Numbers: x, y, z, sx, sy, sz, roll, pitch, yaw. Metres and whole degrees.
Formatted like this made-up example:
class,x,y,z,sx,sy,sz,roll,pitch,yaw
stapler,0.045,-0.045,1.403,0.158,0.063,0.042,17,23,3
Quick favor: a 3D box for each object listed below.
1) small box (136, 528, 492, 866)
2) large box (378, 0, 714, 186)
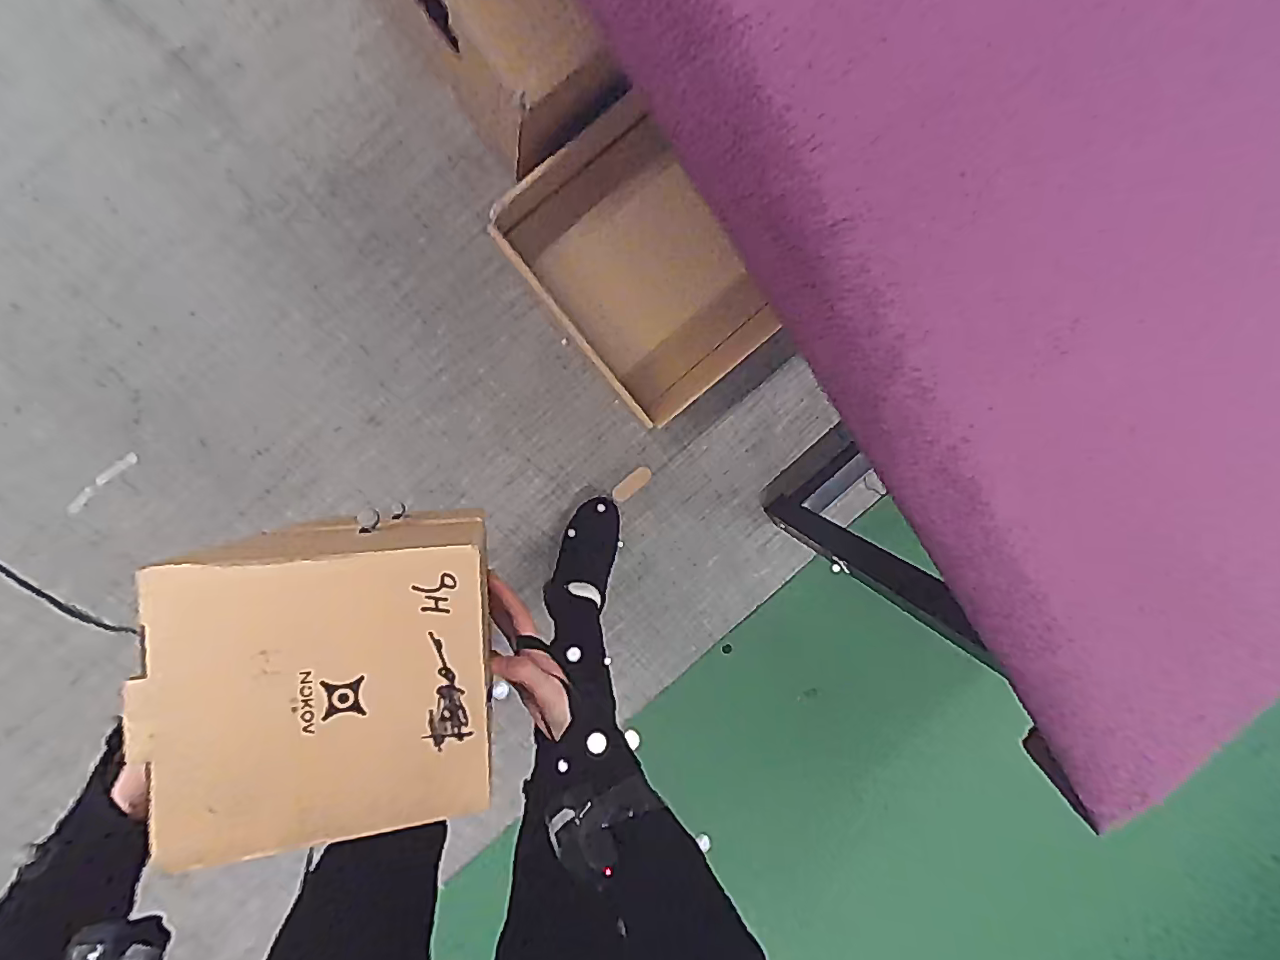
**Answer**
class,x,y,z,sx,sy,sz,roll,pitch,yaw
small box,-0.201,0.124,0.385,0.179,0.176,0.168,-2,90,-14
large box,-0.112,-0.687,0.718,0.408,0.320,0.320,-41,108,0
